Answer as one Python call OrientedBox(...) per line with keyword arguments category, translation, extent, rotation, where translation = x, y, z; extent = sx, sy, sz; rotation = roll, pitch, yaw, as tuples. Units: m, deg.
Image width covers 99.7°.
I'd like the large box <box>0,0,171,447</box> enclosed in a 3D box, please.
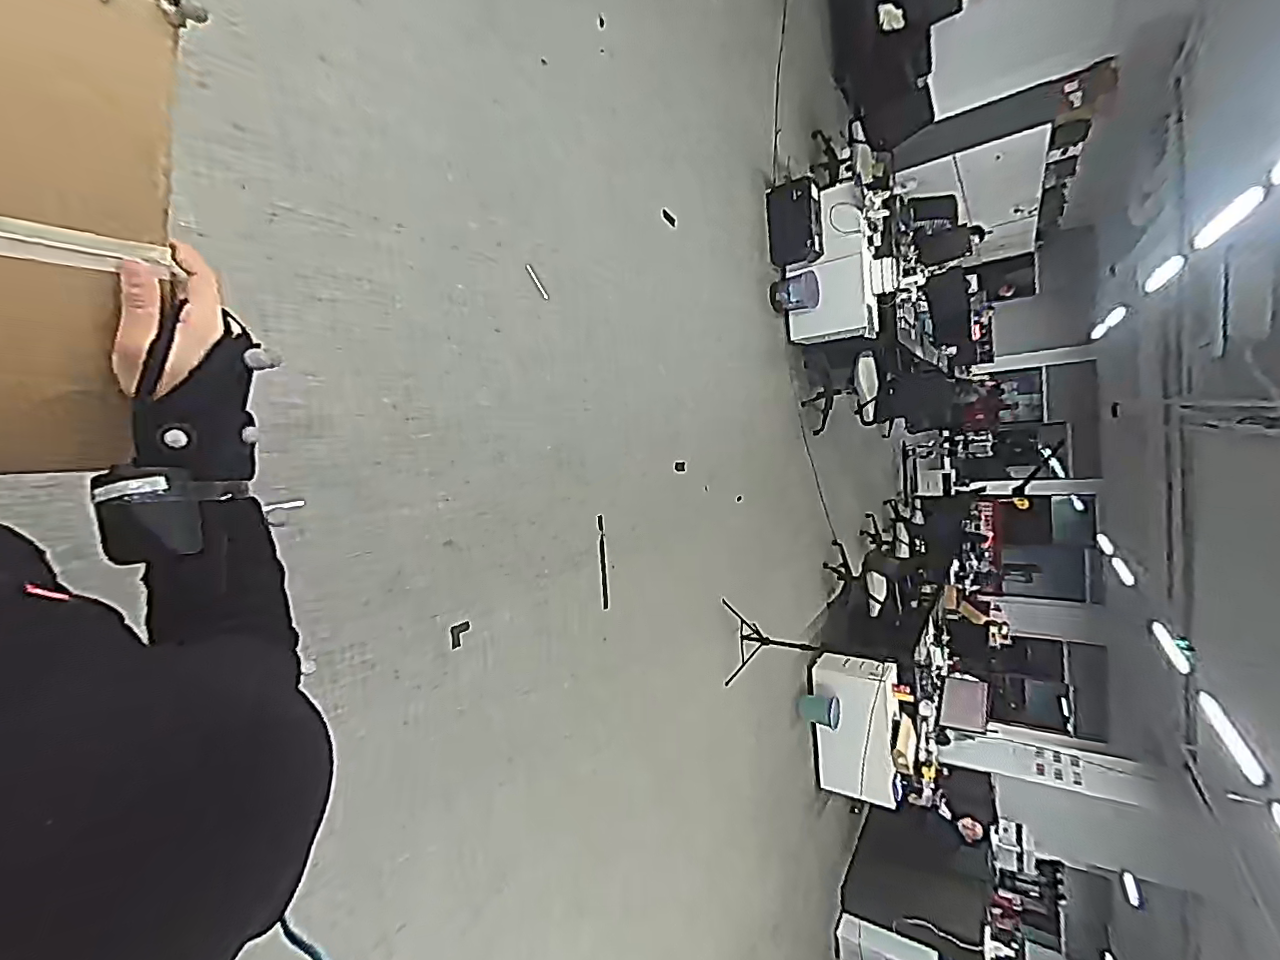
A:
OrientedBox(category="large box", translation=(-0.546, -0.216, 0.276), extent=(0.408, 0.320, 0.320), rotation=(-9, 131, -53))
